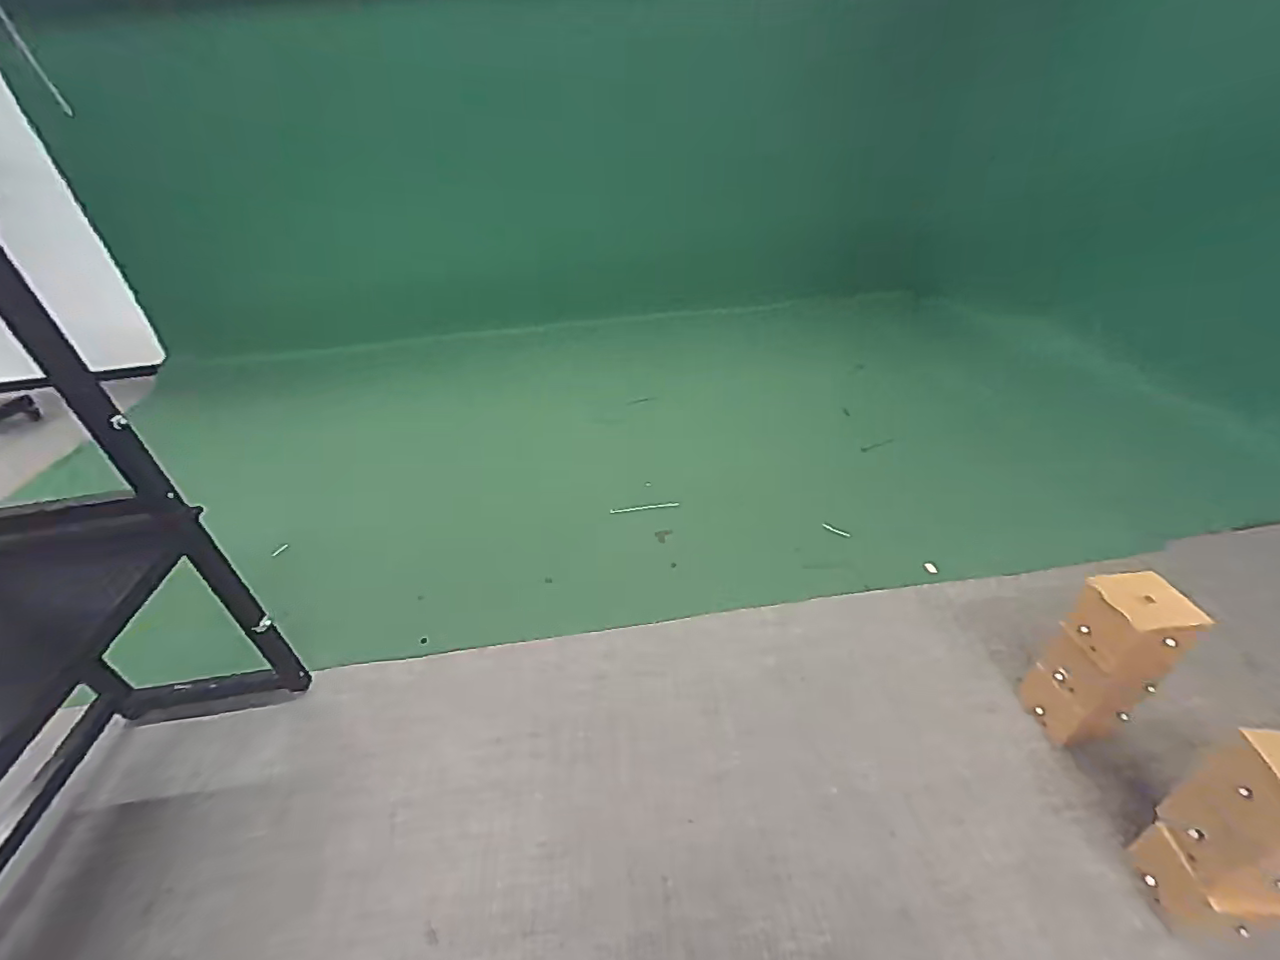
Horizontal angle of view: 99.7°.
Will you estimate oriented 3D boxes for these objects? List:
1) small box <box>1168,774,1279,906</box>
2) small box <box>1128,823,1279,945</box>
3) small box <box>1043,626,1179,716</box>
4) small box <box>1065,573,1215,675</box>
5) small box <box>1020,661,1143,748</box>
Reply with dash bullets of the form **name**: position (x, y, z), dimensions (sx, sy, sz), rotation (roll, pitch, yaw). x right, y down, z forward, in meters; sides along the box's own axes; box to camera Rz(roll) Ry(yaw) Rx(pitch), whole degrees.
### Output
- **small box**: position (1.209, 0.712, 1.067), dimensions (0.179, 0.176, 0.168), rotation (1, 35, 8)
- **small box**: position (1.209, 0.856, 1.146), dimensions (0.179, 0.176, 0.168), rotation (-2, 35, 5)
- **small box**: position (1.201, 0.479, 1.396), dimensions (0.179, 0.176, 0.168), rotation (-9, 35, -7)
- **small box**: position (1.187, 0.347, 1.302), dimensions (0.179, 0.176, 0.168), rotation (-5, 35, -2)
- **small box**: position (1.206, 0.608, 1.494), dimensions (0.179, 0.176, 0.168), rotation (-9, 35, -7)
